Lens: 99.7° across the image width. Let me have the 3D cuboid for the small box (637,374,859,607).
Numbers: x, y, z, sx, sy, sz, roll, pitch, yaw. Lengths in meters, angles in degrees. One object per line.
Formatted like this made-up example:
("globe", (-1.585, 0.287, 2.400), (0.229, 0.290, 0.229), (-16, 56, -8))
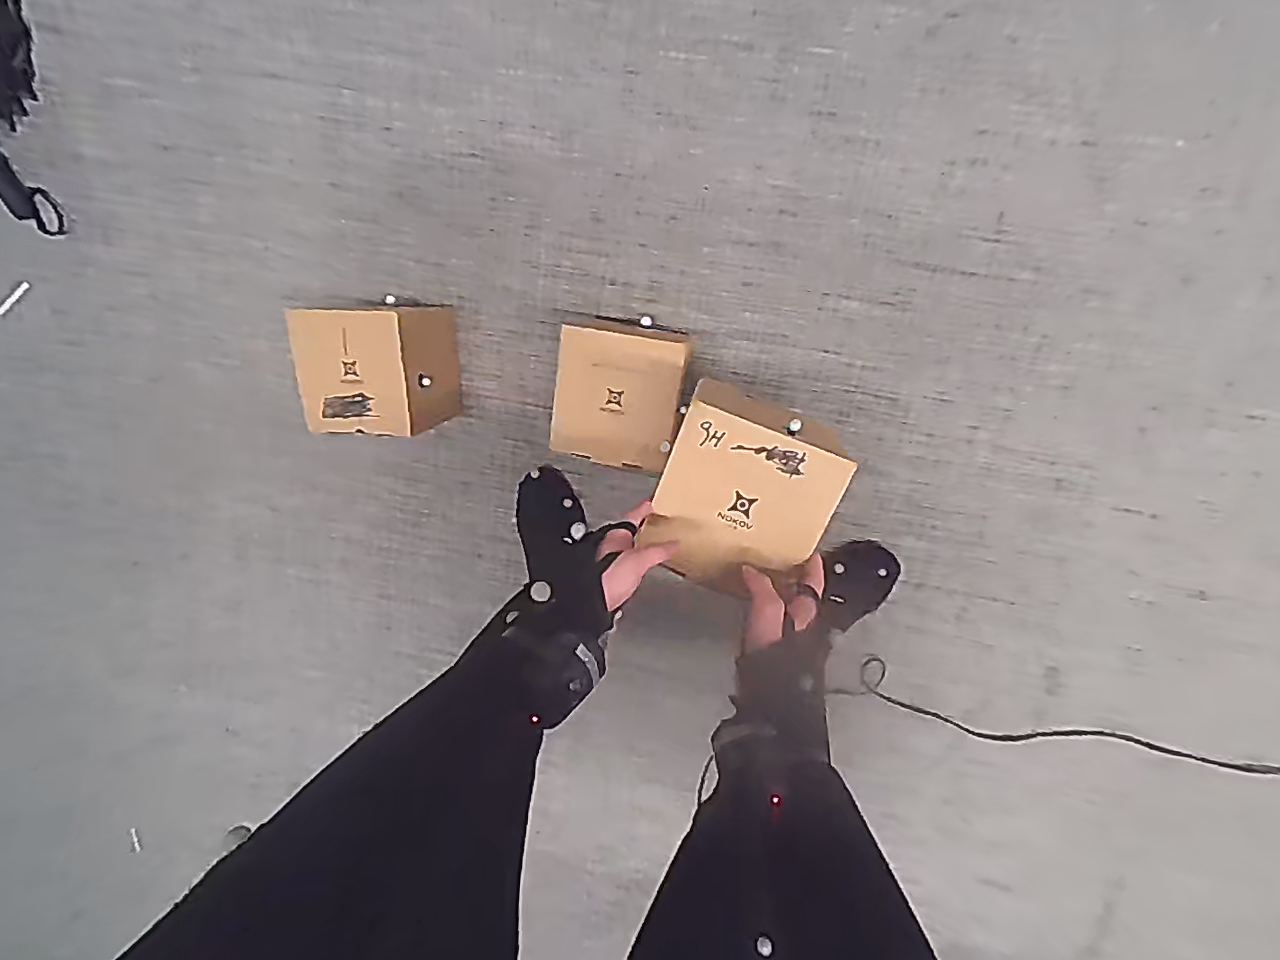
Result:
("small box", (0.113, 0.001, 0.599), (0.168, 0.176, 0.179), (22, 112, 2))

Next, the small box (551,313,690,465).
("small box", (-0.021, -0.140, 0.788), (0.168, 0.176, 0.179), (10, 110, 4))

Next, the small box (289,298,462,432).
("small box", (-0.388, -0.182, 0.828), (0.168, 0.176, 0.179), (4, 110, 7))
